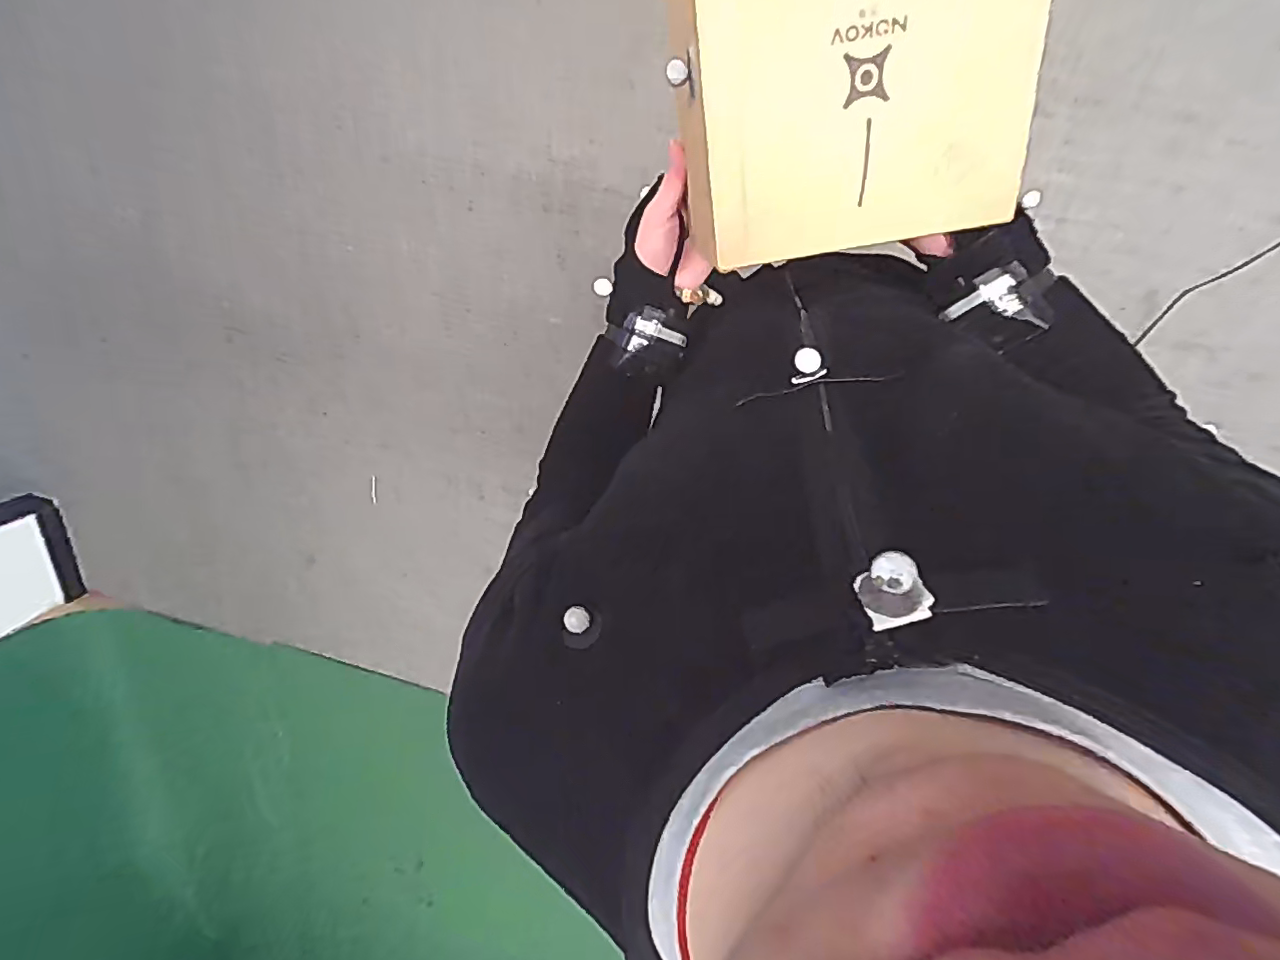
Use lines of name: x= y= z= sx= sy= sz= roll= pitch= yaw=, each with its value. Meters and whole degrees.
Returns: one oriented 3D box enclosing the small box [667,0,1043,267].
small box: x=0.110 y=-0.247 z=0.336 sx=0.168 sy=0.176 sz=0.179 roll=-7 pitch=121 yaw=4
